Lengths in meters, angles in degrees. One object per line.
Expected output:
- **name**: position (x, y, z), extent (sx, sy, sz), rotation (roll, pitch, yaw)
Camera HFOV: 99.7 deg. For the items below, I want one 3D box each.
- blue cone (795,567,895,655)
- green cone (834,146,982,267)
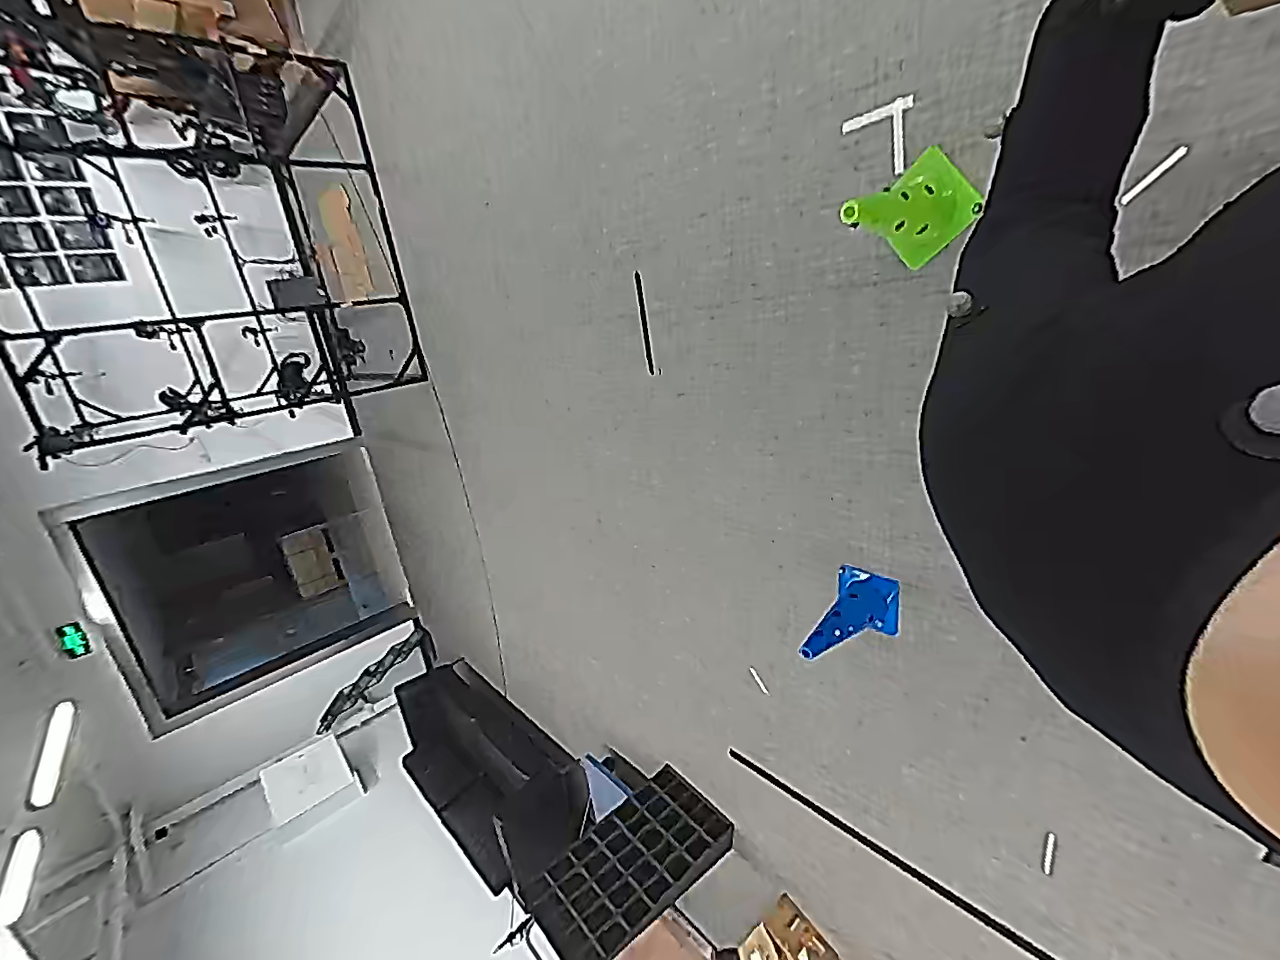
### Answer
- **blue cone**: position (0.608, 0.434, 1.657), extent (0.192, 0.380, 0.193), rotation (18, 121, 47)
- **green cone**: position (0.544, -0.595, 1.189), extent (0.200, 0.368, 0.202), rotation (59, 144, 12)
